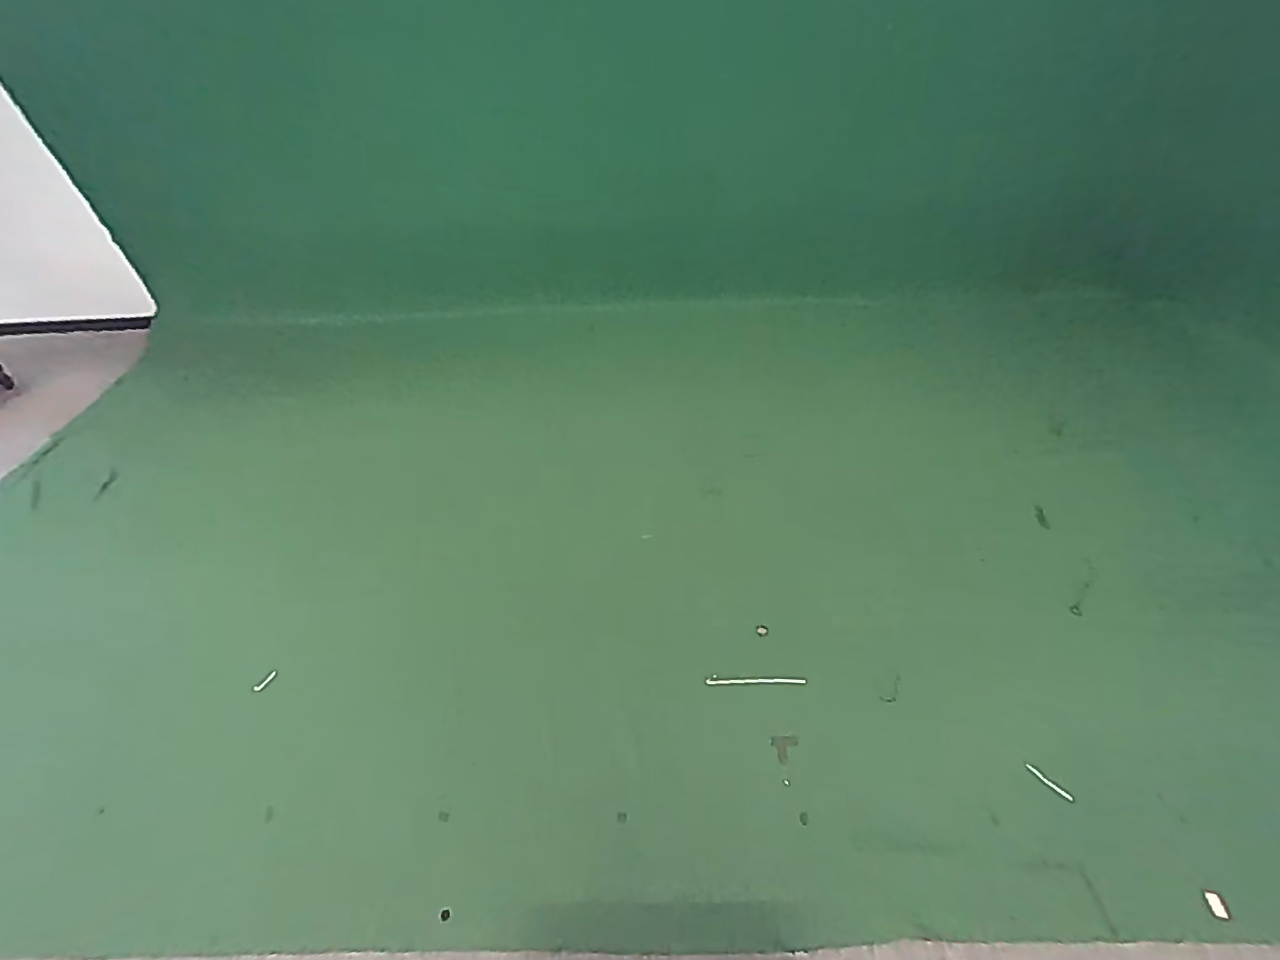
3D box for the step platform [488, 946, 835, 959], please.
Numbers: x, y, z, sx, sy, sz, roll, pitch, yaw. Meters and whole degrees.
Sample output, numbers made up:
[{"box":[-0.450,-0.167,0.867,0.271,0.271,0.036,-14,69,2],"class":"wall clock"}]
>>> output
[{"box":[0.032,1.019,0.951,0.684,0.204,0.286,-3,47,1],"class":"step platform"}]
